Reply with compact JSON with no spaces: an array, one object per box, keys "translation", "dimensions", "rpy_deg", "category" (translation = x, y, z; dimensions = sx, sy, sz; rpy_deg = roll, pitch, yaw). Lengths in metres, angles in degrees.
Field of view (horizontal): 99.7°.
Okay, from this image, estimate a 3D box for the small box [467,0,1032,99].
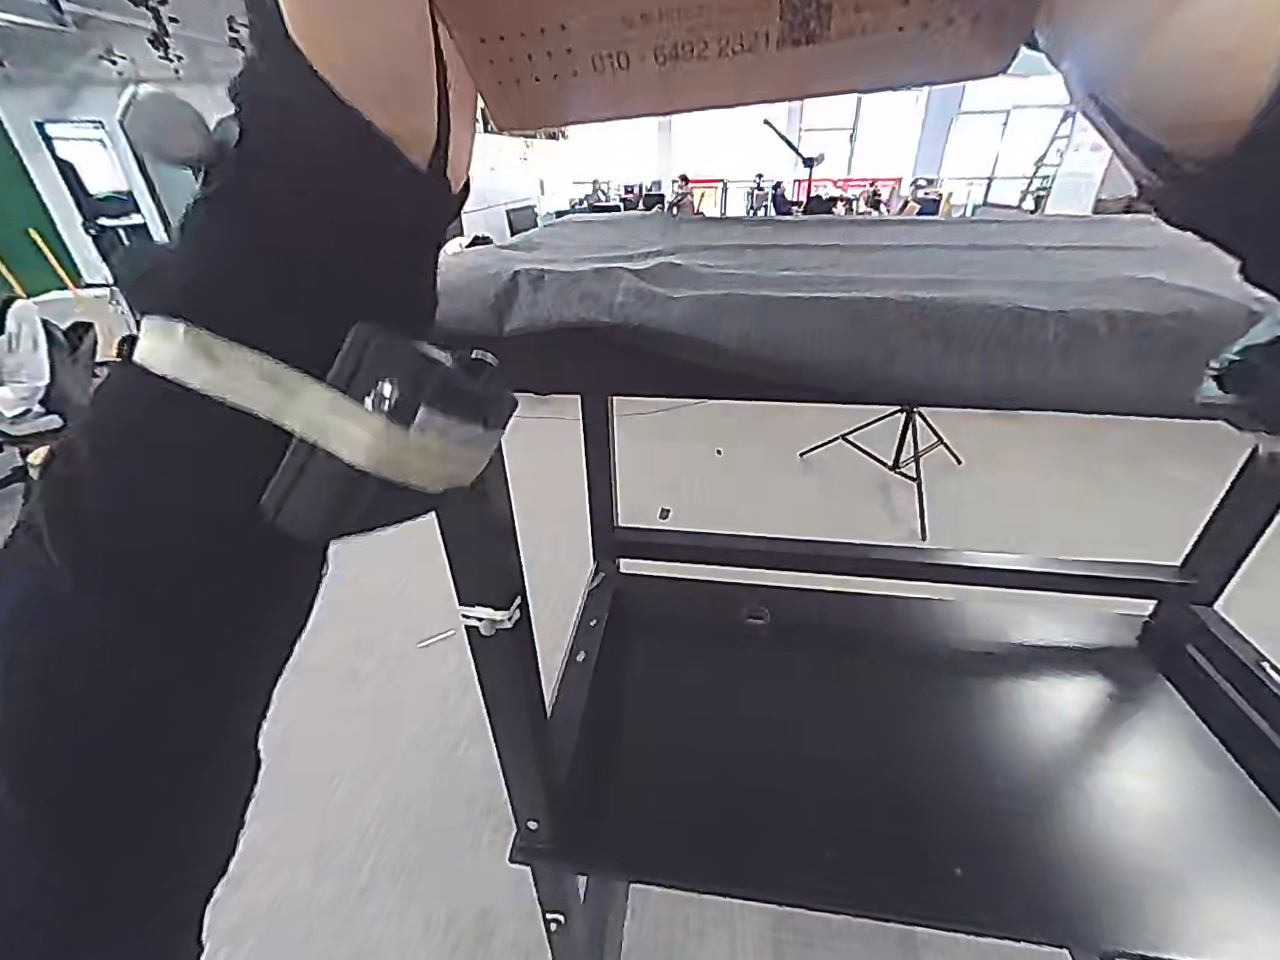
[{"translation":[0.025,-0.227,0.130],"dimensions":[0.168,0.176,0.179],"rpy_deg":[1,70,11],"category":"small box"}]
